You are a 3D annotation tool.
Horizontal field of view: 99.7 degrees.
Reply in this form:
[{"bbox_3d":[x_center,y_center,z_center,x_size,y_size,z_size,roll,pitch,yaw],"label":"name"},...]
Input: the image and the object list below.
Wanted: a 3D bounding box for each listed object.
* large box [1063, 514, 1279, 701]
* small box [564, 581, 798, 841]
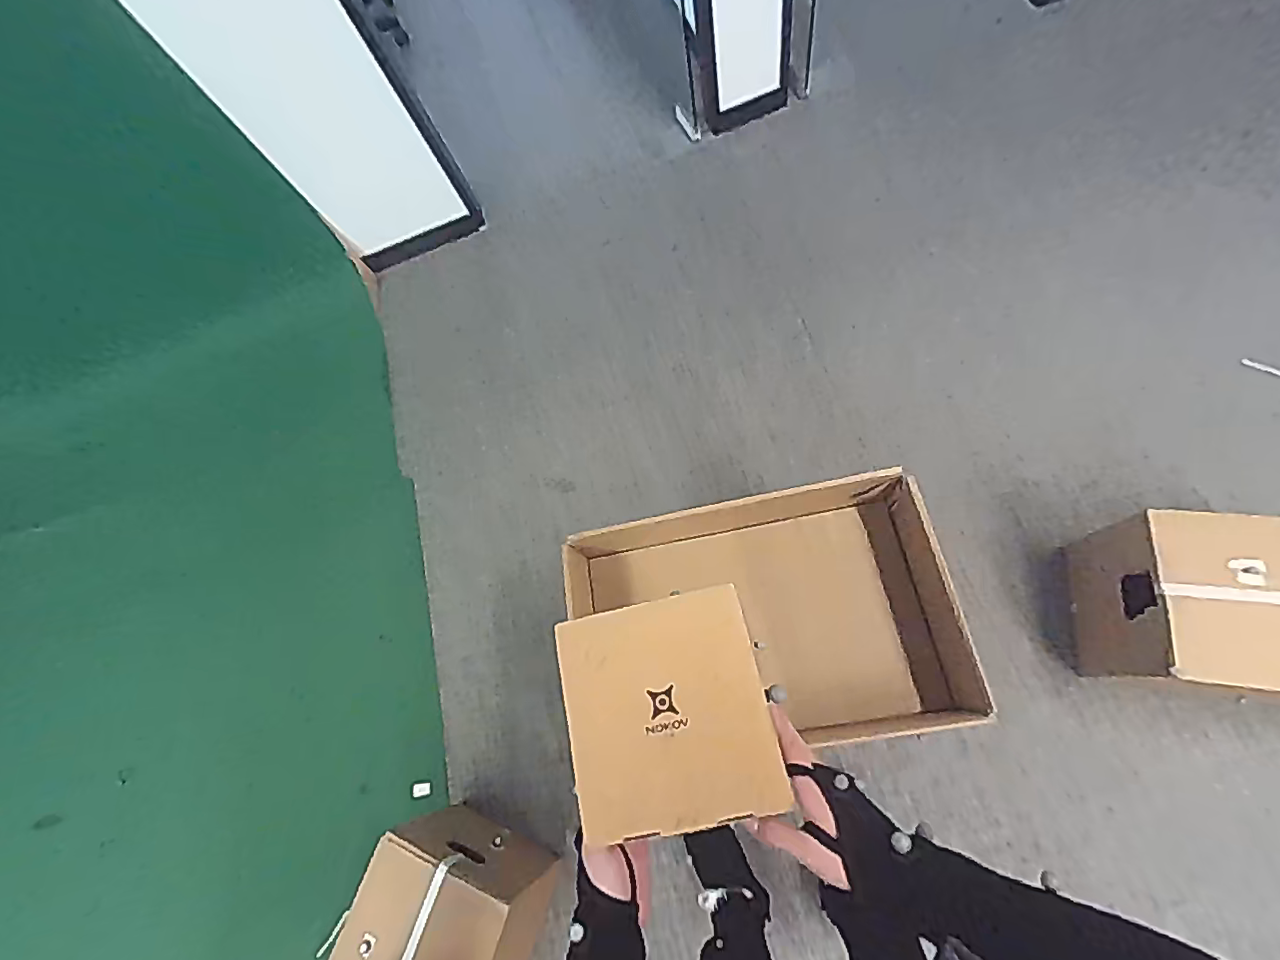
[{"bbox_3d":[1.163,0.265,1.080,0.408,0.320,0.320,3,71,14],"label":"large box"},{"bbox_3d":[0.040,0.210,0.517,0.168,0.176,0.179,-14,70,6],"label":"small box"}]
